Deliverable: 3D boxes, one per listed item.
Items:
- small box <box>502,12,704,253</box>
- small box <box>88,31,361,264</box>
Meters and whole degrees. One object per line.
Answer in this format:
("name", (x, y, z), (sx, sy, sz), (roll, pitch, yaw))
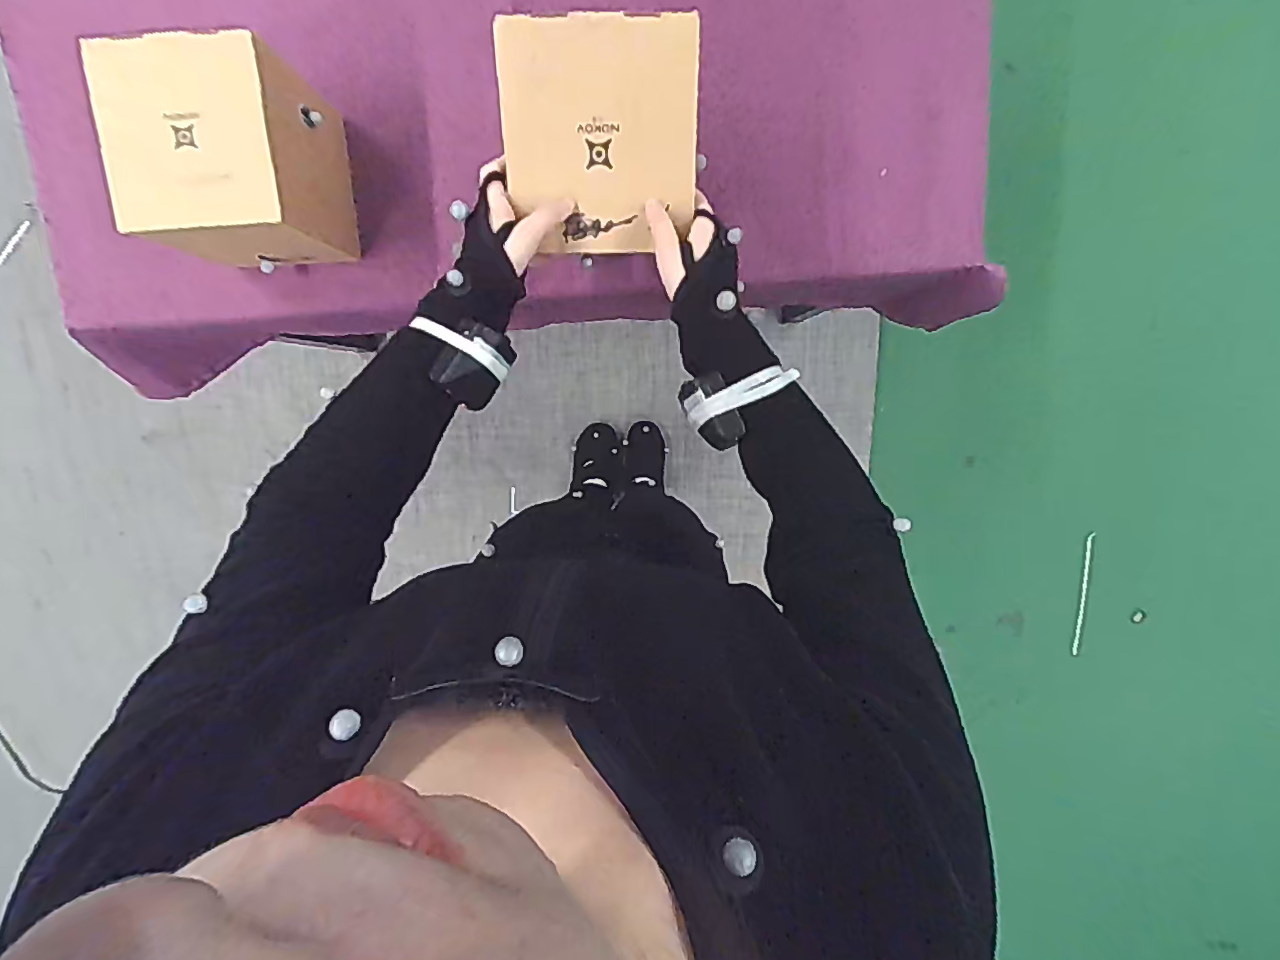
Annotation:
("small box", (-0.029, -0.322, 0.536), (0.168, 0.176, 0.179), (1, 113, 2))
("small box", (-0.441, -0.354, 0.607), (0.168, 0.176, 0.179), (-3, 101, 0))
